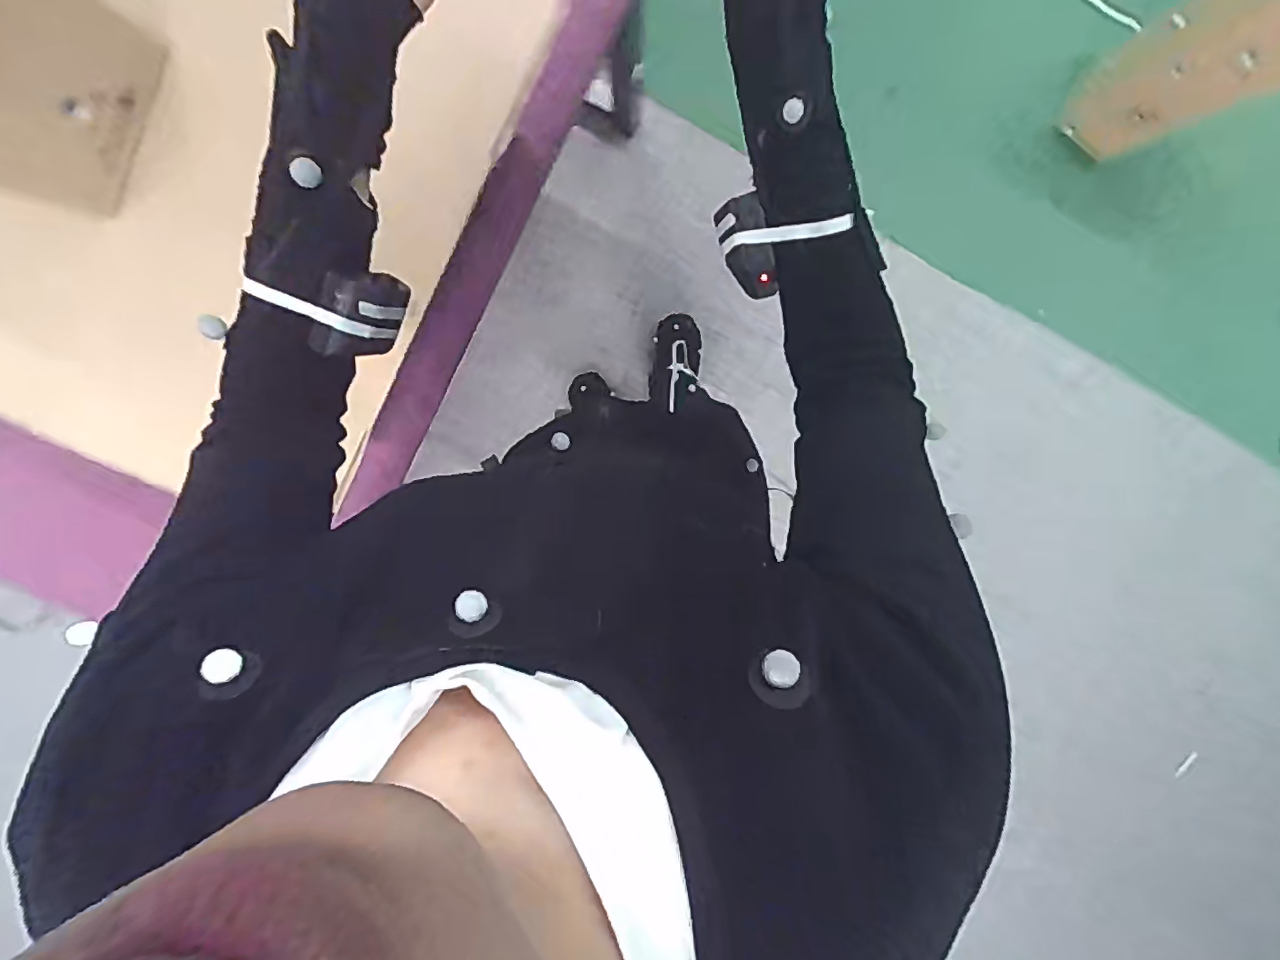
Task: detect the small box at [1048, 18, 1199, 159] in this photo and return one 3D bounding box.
[{"bbox_3d":[1.086,-0.872,1.230,0.168,0.176,0.179,27,103,-7],"label":"small box"}]

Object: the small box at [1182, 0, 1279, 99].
[{"bbox_3d":[1.097,-0.801,0.910,0.168,0.176,0.179,28,100,-8],"label":"small box"}]

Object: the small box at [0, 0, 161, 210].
[{"bbox_3d":[-0.520,-0.327,0.389,0.179,0.176,0.168,29,101,-6],"label":"small box"}]
